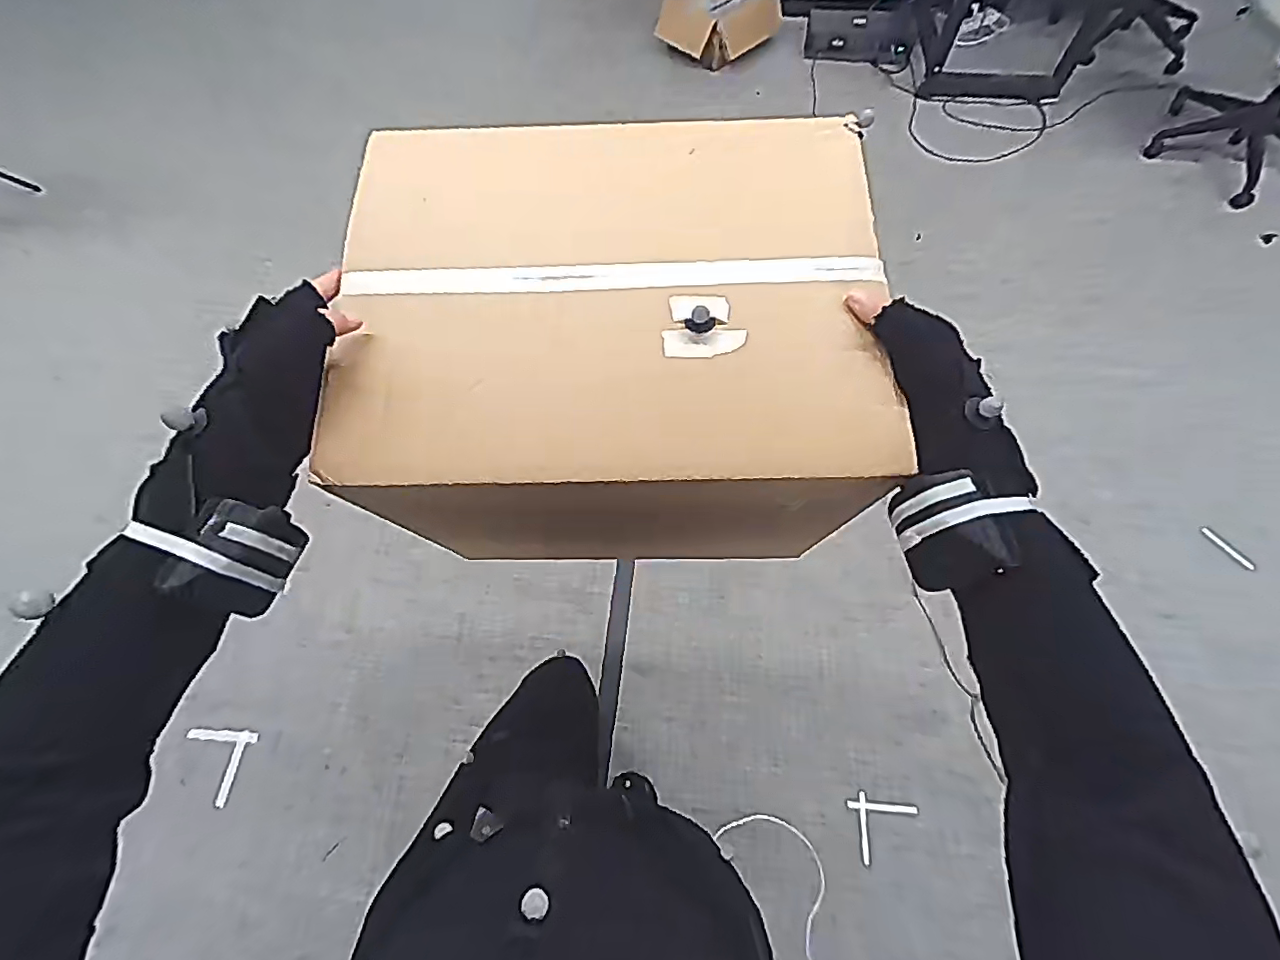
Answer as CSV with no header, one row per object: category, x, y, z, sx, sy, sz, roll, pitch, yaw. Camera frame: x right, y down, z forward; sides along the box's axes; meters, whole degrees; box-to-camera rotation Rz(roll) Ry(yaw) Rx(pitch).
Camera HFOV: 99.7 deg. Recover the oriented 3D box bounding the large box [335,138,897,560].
large box,-0.018,-0.099,0.564,0.408,0.320,0.320,-1,72,2
